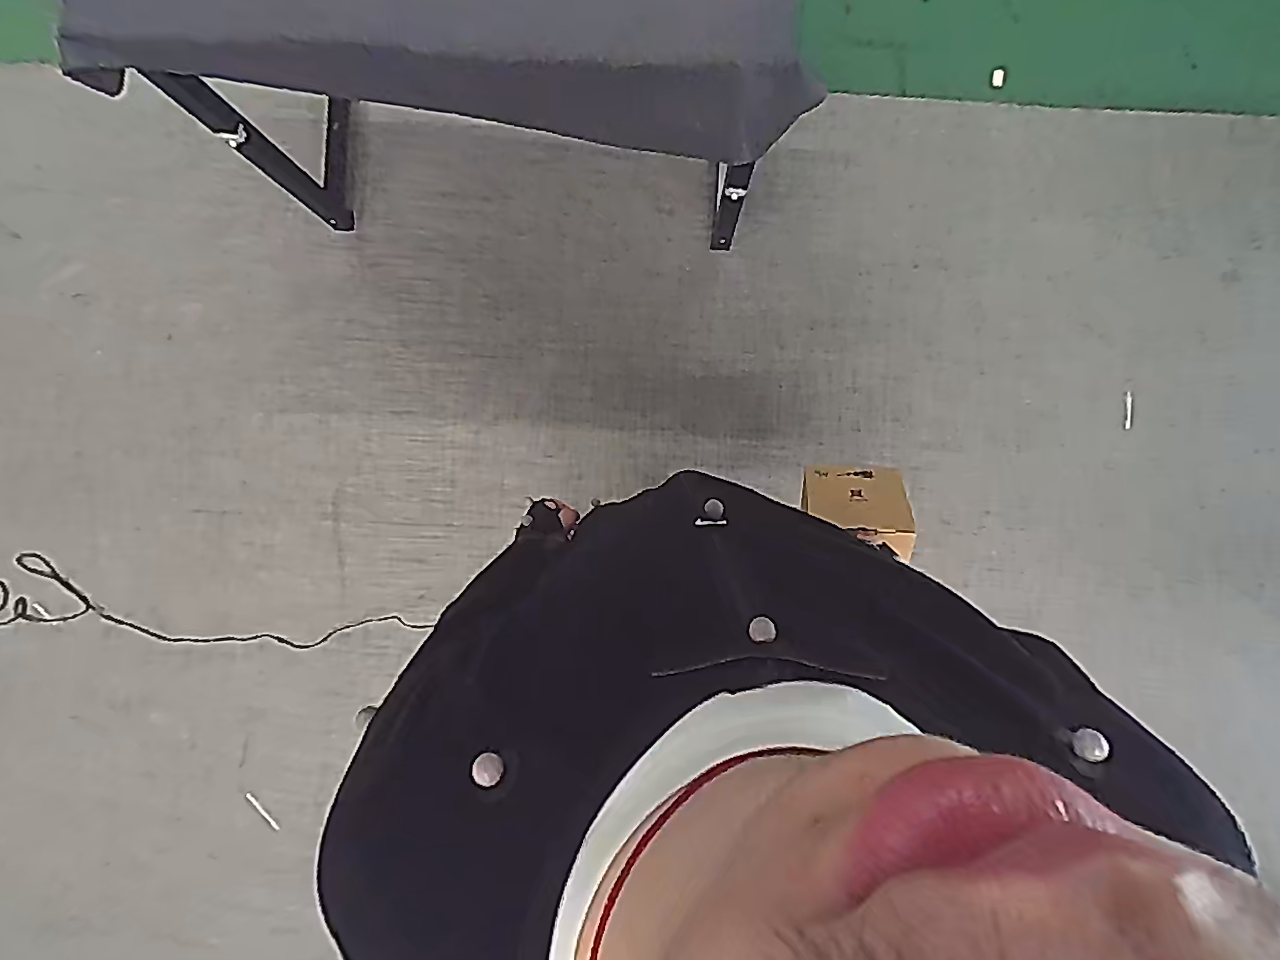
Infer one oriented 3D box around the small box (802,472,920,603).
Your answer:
[{"bbox_3d":[0.388,0.103,0.979,0.168,0.179,0.176,1,126,11],"label":"small box"}]
